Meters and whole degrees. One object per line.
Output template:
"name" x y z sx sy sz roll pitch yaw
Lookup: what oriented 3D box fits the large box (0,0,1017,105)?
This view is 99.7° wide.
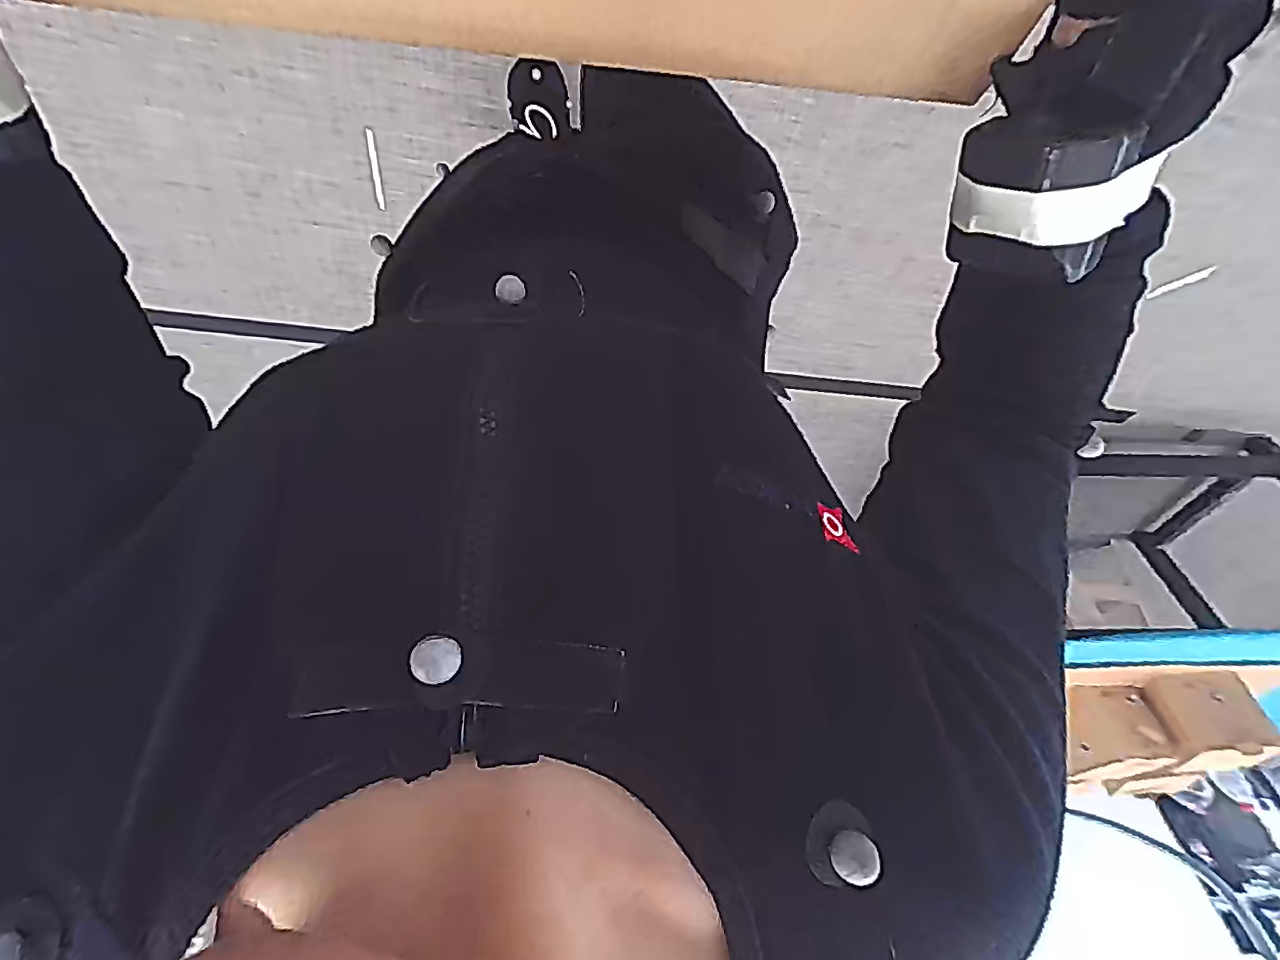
"large box" -0.037 -0.364 0.133 0.408 0.320 0.320 0 162 -7
